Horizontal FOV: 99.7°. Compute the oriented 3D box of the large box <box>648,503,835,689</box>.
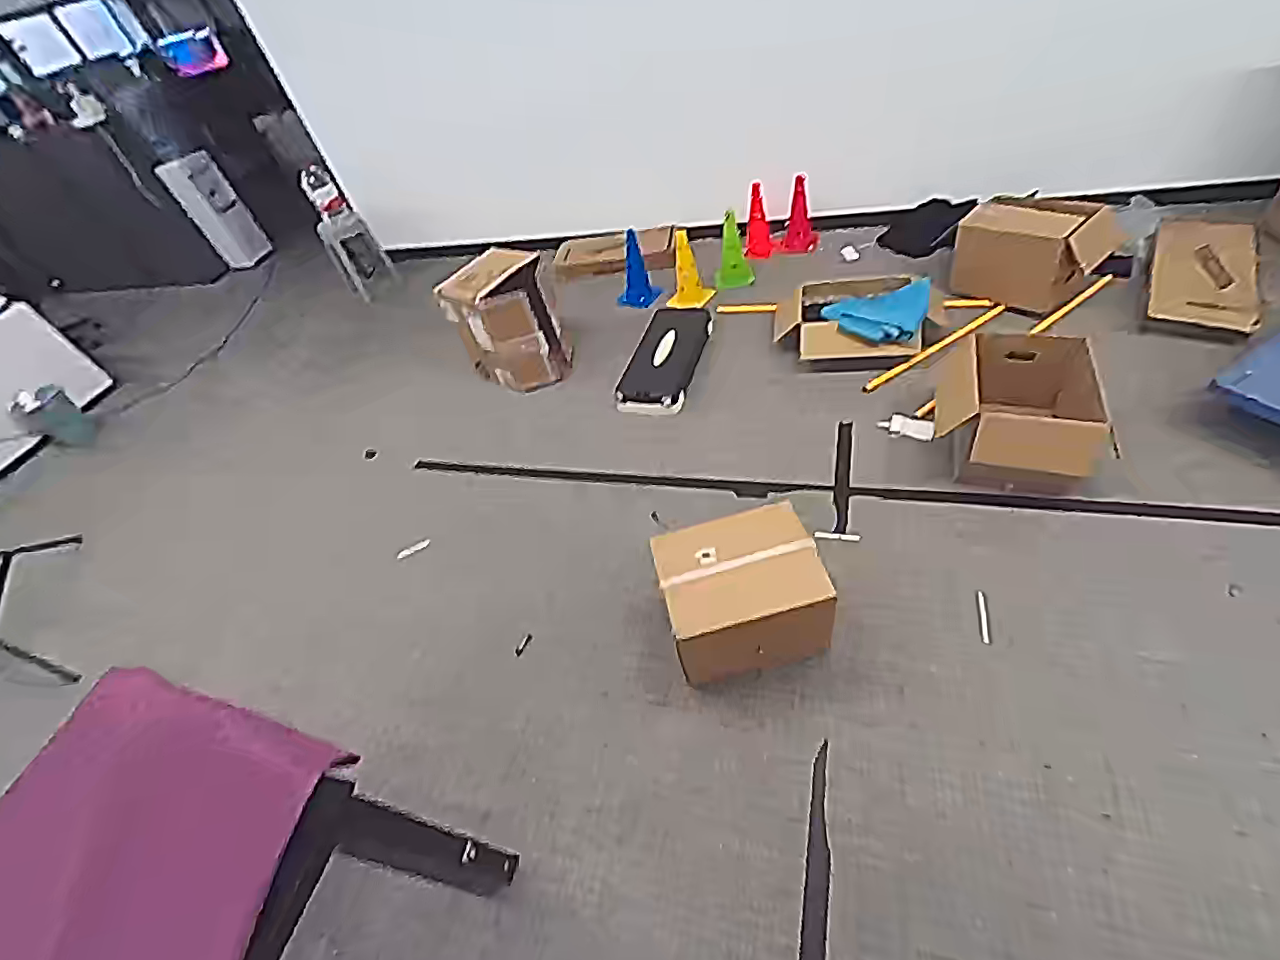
[{"bbox_3d":[0.273,0.323,1.485,0.408,0.320,0.320,-17,46,1],"label":"large box"}]
